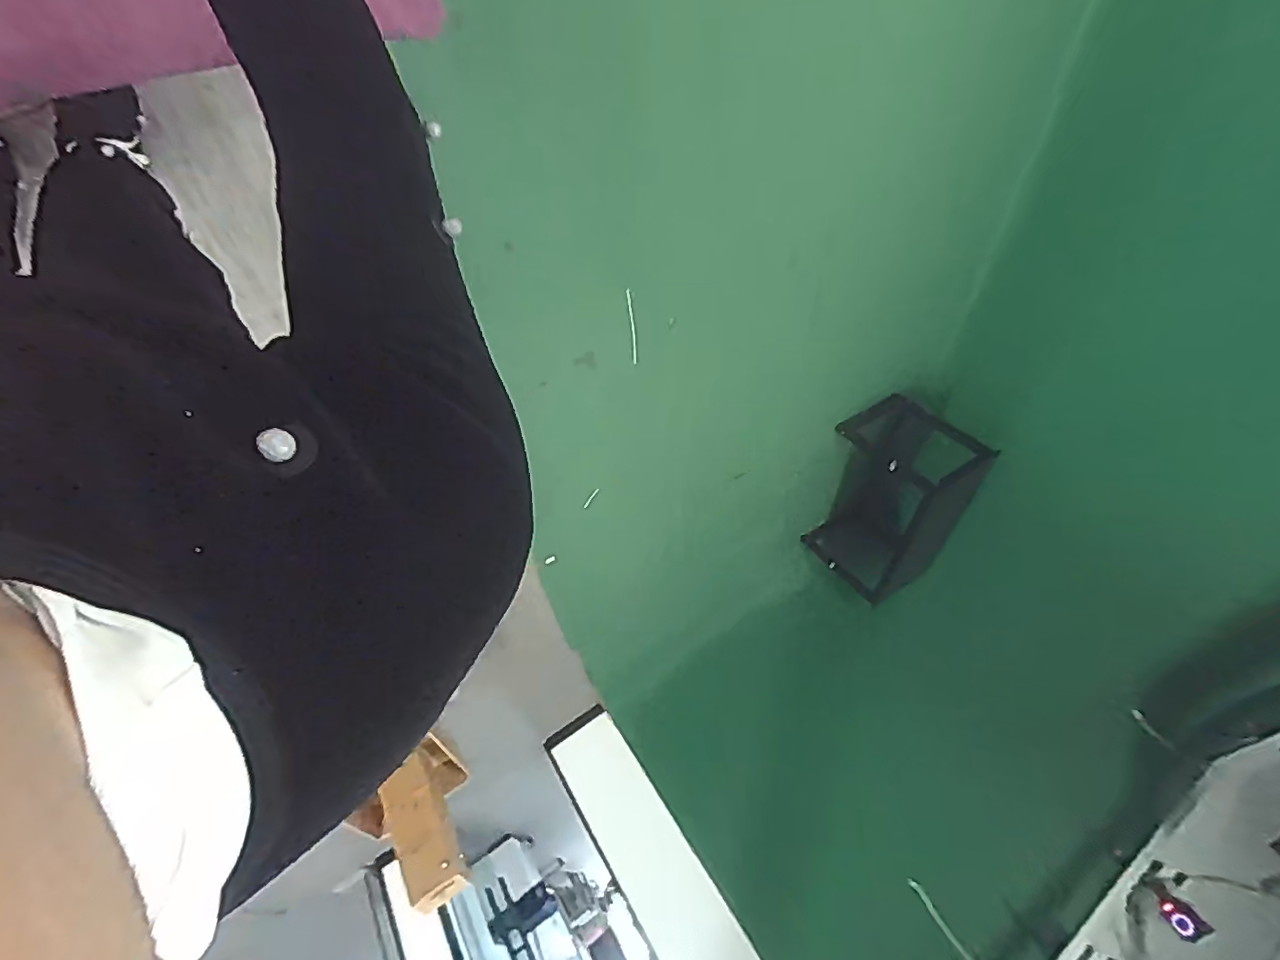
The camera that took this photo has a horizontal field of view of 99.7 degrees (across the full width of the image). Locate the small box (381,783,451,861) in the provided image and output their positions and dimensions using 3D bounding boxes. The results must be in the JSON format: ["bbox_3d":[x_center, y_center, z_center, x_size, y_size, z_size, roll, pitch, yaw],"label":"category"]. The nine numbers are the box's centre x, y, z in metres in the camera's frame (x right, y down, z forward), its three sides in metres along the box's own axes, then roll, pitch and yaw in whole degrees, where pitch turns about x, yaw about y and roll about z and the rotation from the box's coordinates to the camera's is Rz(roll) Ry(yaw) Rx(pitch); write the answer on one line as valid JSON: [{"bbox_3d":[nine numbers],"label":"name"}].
[{"bbox_3d":[-0.819,1.248,1.980,0.168,0.176,0.179,-27,139,-20],"label":"small box"}]

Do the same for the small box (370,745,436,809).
[{"bbox_3d":[-0.909,1.157,2.079,0.168,0.176,0.179,-28,140,-22],"label":"small box"}]
